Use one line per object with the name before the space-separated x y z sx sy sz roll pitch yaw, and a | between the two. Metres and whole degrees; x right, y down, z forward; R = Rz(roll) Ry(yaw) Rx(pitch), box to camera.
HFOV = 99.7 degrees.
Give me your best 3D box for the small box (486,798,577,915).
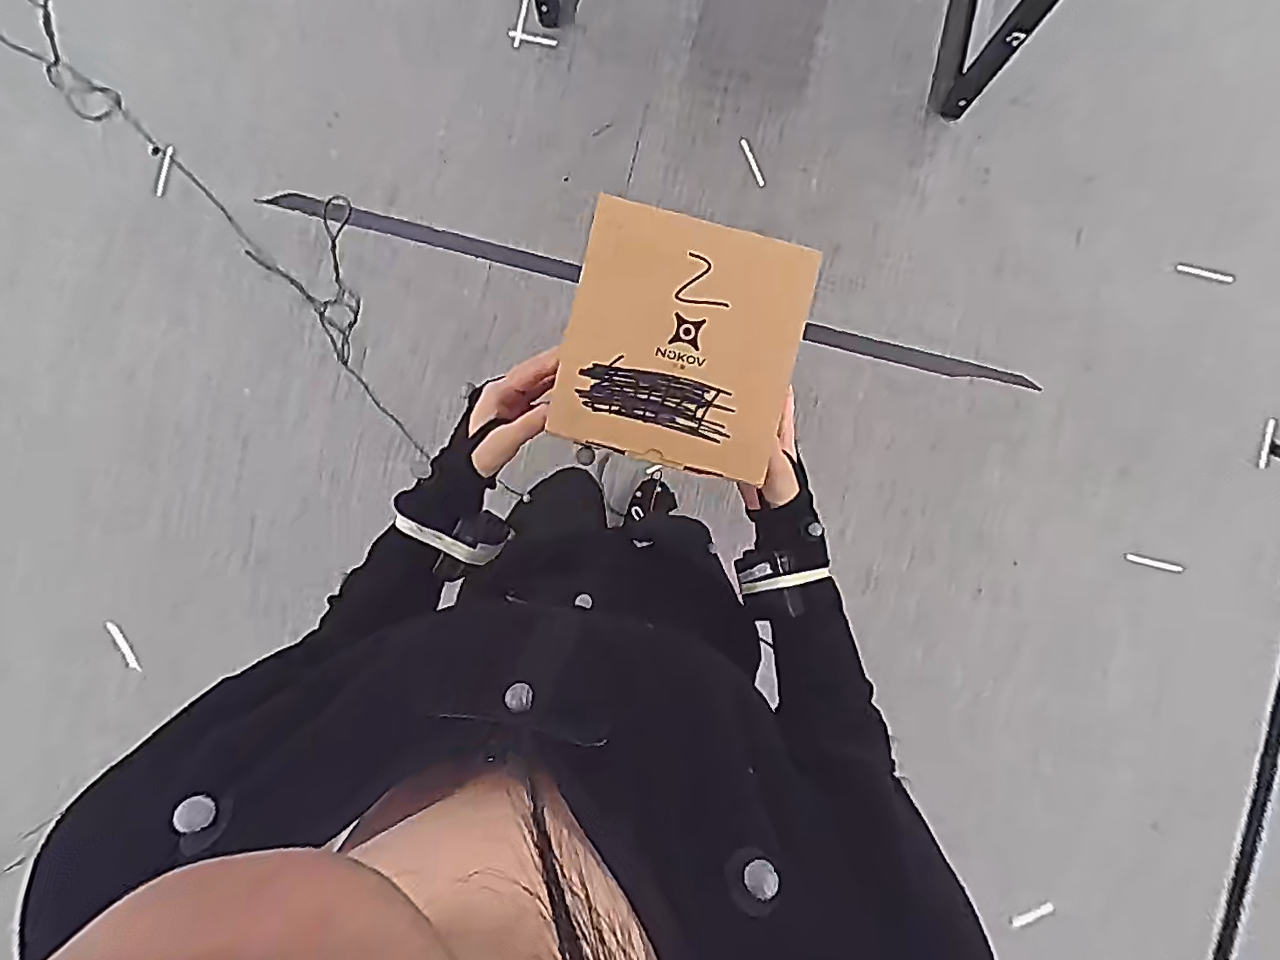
small box | -0.270 0.953 1.386 0.179 0.176 0.168 15 89 -1
